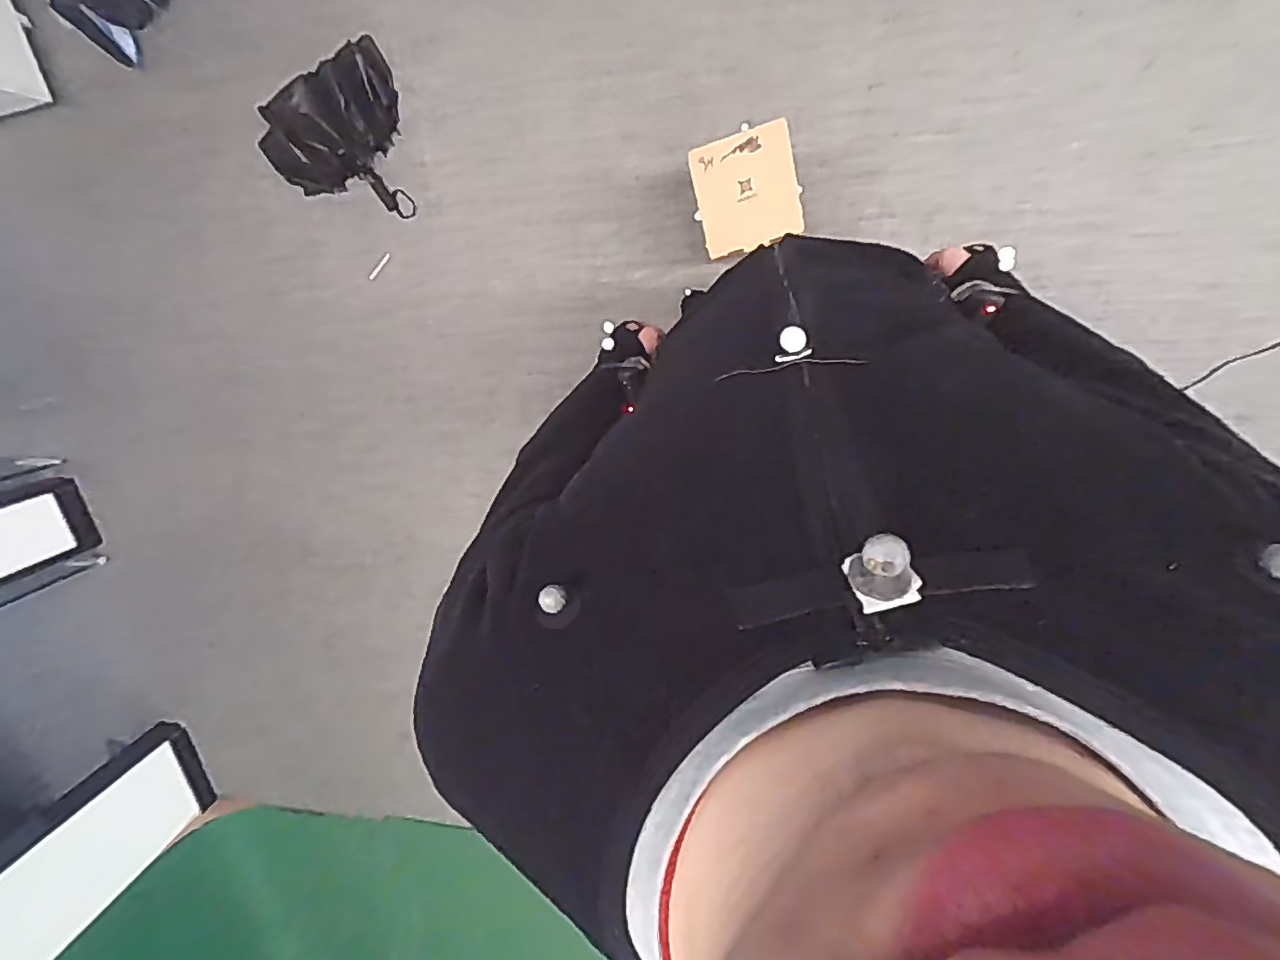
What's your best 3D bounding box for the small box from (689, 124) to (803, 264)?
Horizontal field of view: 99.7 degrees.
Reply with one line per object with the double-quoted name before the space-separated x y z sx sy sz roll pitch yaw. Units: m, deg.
"small box" 0.194 -0.504 0.976 0.168 0.176 0.179 -11 110 15
